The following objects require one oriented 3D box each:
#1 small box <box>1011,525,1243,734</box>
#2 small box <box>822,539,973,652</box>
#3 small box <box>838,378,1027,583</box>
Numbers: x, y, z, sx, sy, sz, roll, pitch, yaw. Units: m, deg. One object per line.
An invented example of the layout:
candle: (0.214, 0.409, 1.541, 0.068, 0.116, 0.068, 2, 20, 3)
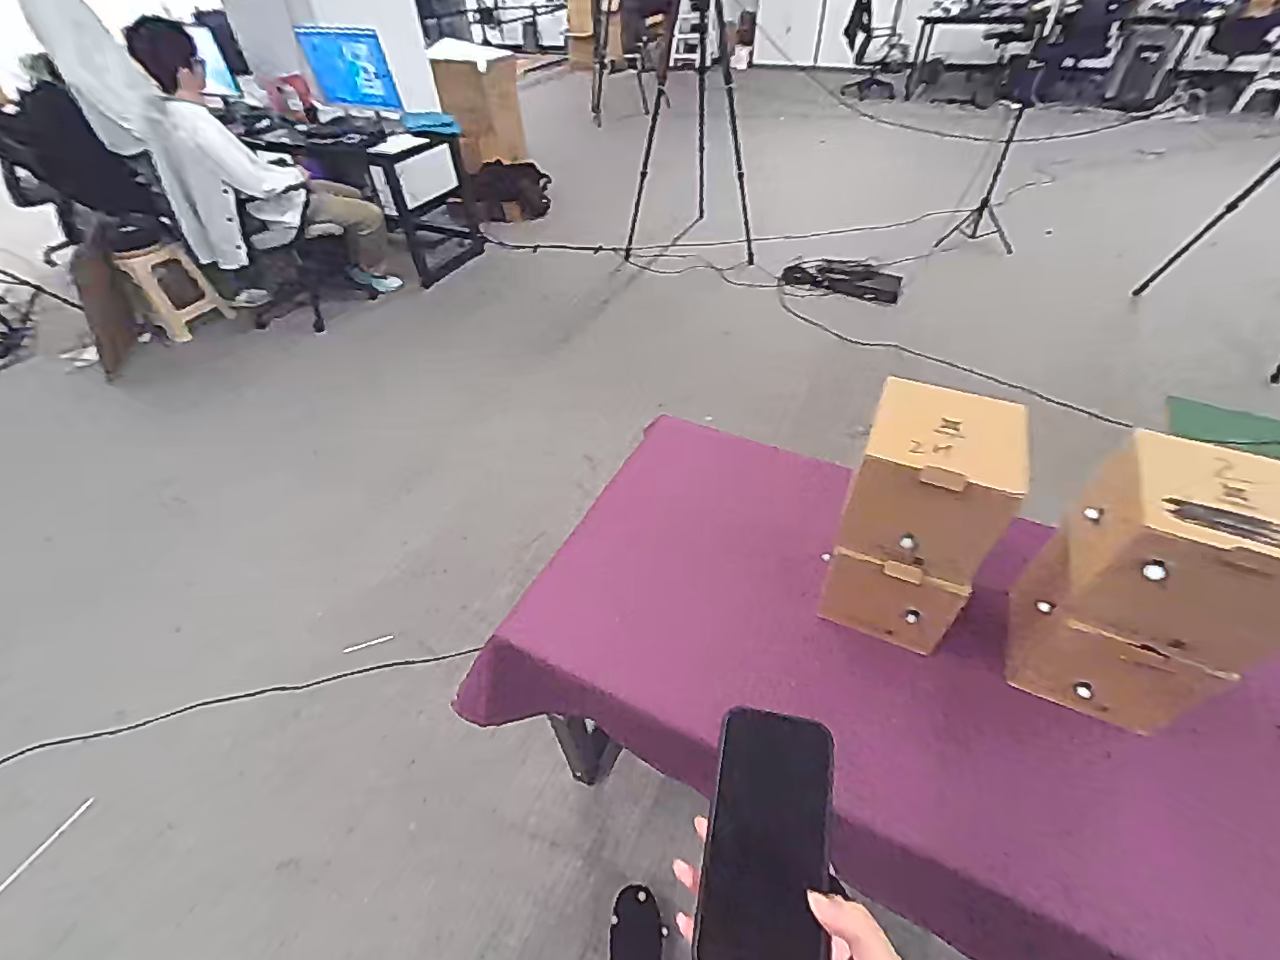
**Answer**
small box: (0.621, 0.197, 0.719, 0.168, 0.176, 0.179, 18, 50, 21)
small box: (0.382, 0.124, 0.808, 0.168, 0.176, 0.179, 19, 49, 20)
small box: (0.370, -0.001, 0.701, 0.168, 0.176, 0.179, 18, 49, 20)
